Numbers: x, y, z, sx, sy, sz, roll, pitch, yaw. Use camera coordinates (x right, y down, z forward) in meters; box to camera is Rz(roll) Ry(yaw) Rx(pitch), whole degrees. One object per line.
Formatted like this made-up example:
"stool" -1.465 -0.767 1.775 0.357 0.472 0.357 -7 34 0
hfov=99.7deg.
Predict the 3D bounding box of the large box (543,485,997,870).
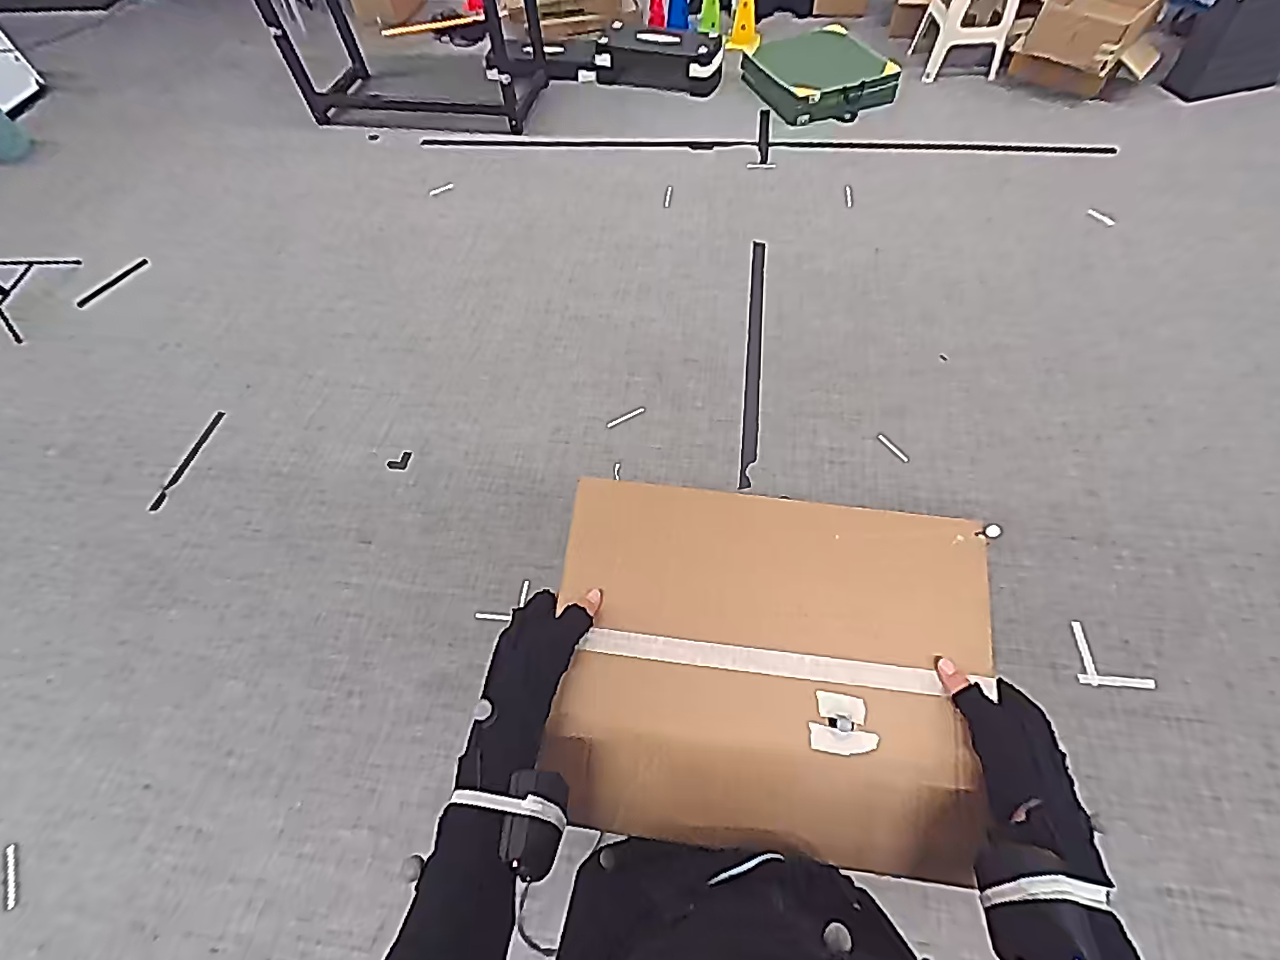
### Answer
"large box" 0.128 0.213 0.656 0.408 0.320 0.320 6 74 4
